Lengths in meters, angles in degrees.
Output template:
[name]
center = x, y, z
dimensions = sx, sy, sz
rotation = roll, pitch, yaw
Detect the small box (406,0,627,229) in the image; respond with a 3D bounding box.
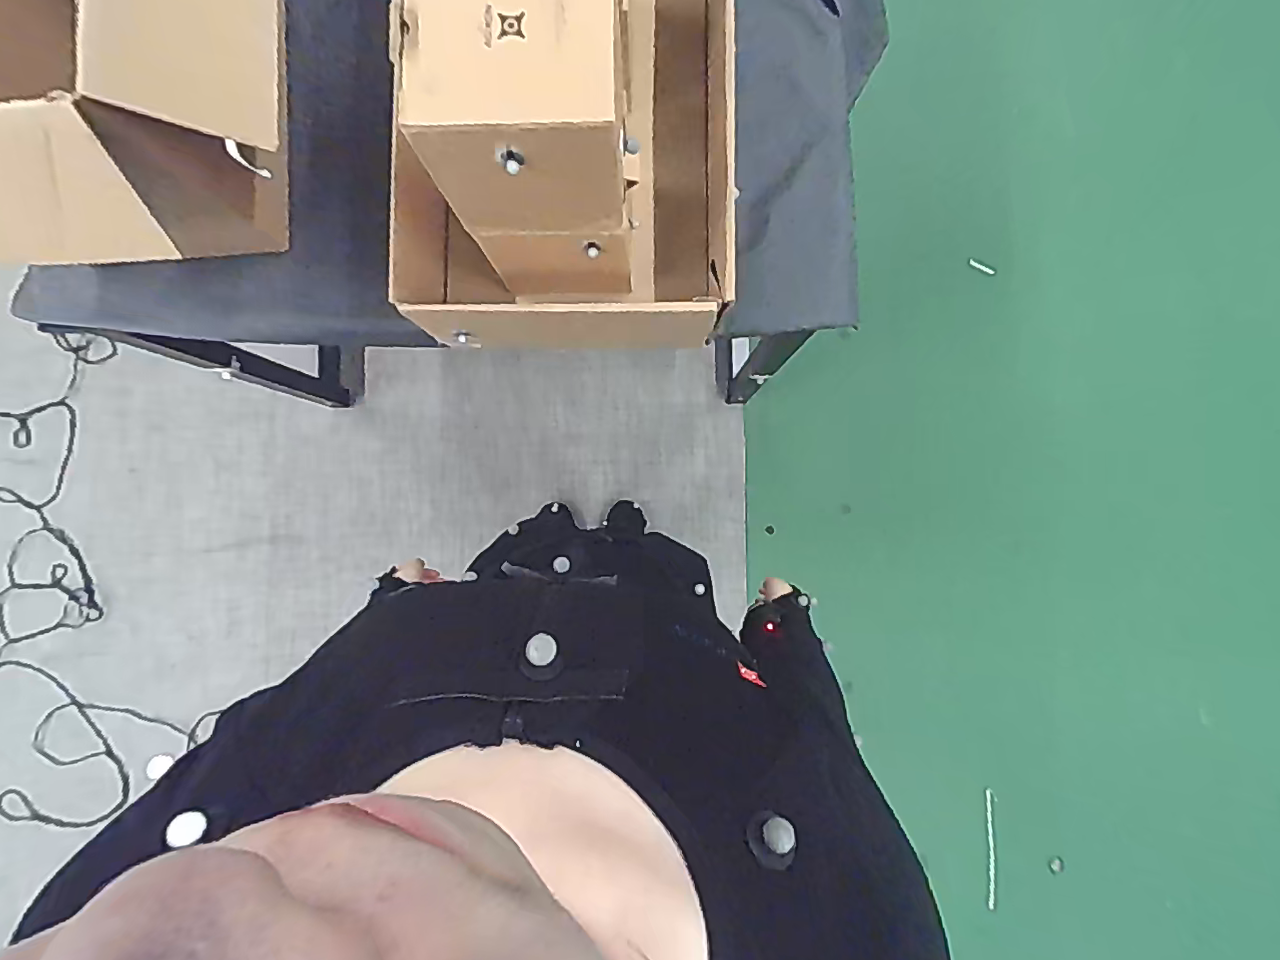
[small box]
center = -0.103, -0.361, 0.522
dimensions = 0.179, 0.176, 0.168
rotation = 0, 88, 0
